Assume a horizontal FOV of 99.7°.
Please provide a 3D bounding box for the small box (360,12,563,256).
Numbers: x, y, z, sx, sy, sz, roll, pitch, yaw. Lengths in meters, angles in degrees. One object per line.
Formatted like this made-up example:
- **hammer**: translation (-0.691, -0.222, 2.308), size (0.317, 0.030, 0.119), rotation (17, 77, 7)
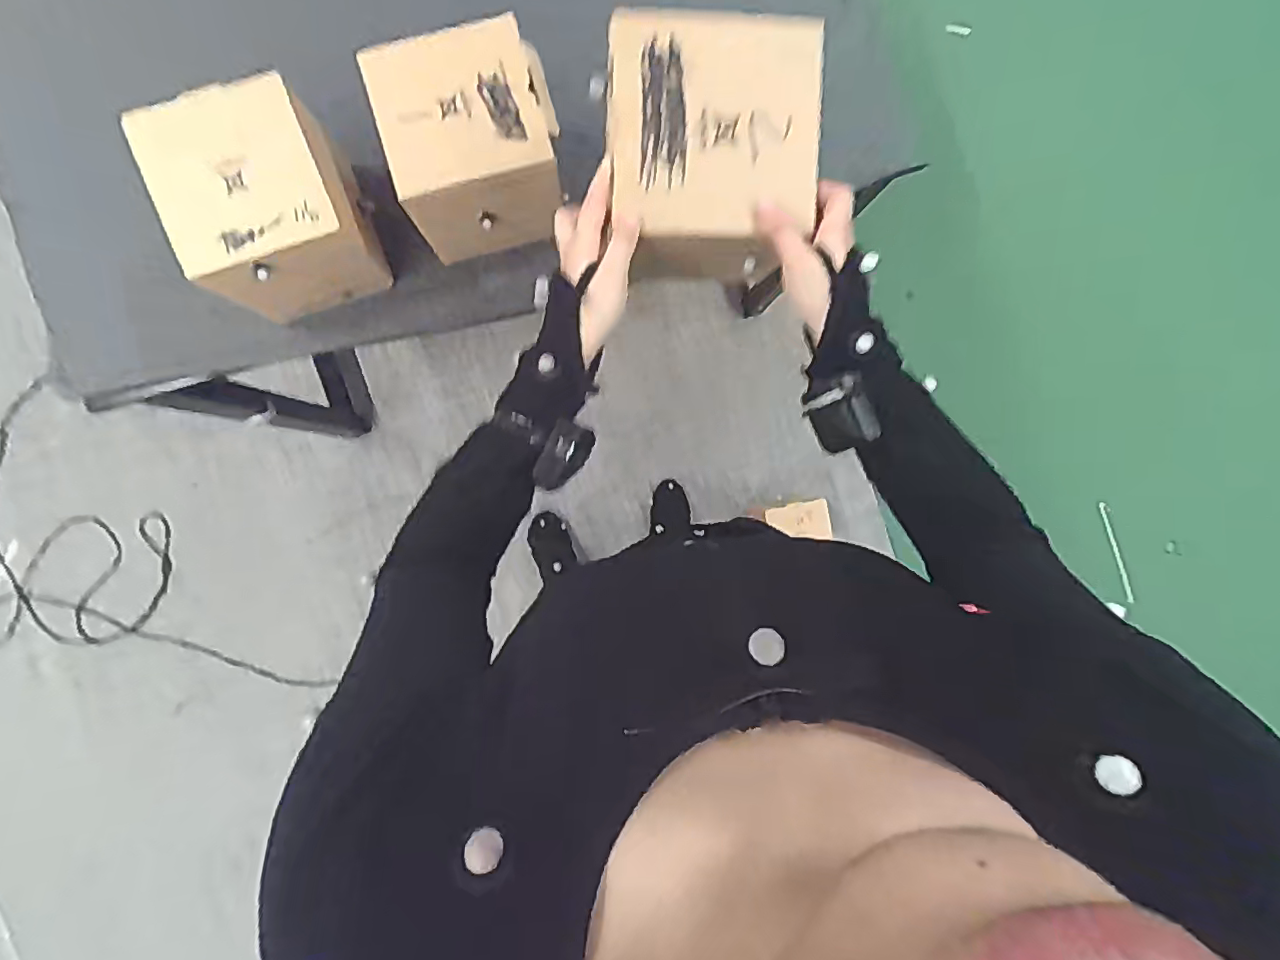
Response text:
- **small box**: translation (-0.196, -0.399, 0.653), size (0.179, 0.176, 0.168), rotation (-16, 90, -2)

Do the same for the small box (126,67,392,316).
- **small box**: translation (-0.424, -0.320, 0.635), size (0.168, 0.176, 0.179), rotation (-20, 92, -4)

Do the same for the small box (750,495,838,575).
- **small box**: translation (0.403, 0.139, 1.436), size (0.168, 0.176, 0.179), rotation (-10, 91, -4)
